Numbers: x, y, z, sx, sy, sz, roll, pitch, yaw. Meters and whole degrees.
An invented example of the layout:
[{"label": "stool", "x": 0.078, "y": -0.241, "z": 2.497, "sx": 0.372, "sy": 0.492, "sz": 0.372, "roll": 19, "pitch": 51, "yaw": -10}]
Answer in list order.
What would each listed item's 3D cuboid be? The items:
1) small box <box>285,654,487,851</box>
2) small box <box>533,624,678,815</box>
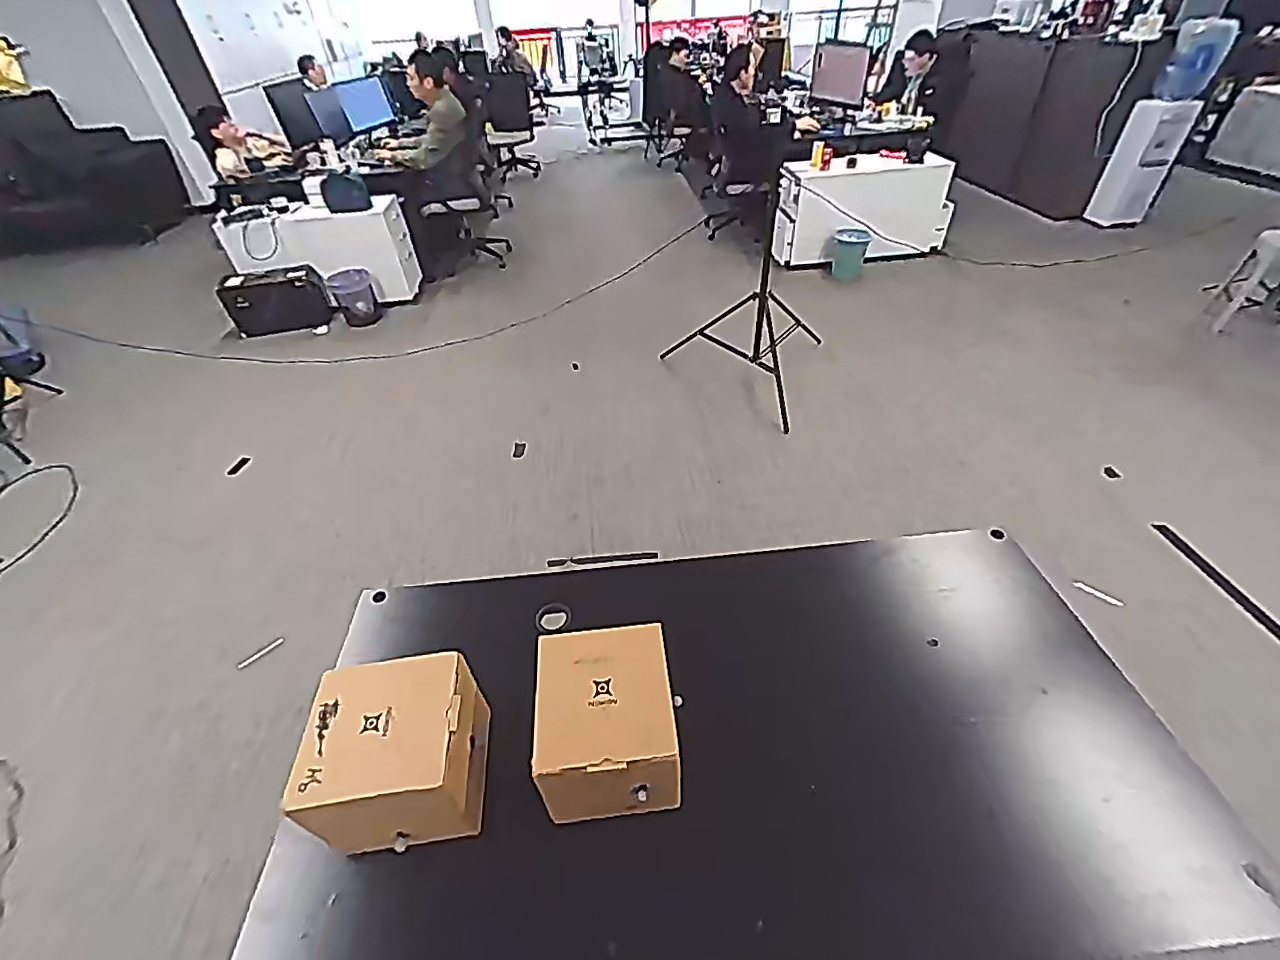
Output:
[{"label": "small box", "x": -0.301, "y": 0.348, "z": 0.693, "sx": 0.179, "sy": 0.176, "sz": 0.168, "roll": -6, "pitch": 41, "yaw": -5}, {"label": "small box", "x": -0.042, "y": 0.318, "z": 0.712, "sx": 0.168, "sy": 0.176, "sz": 0.179, "roll": -5, "pitch": 41, "yaw": -4}]
